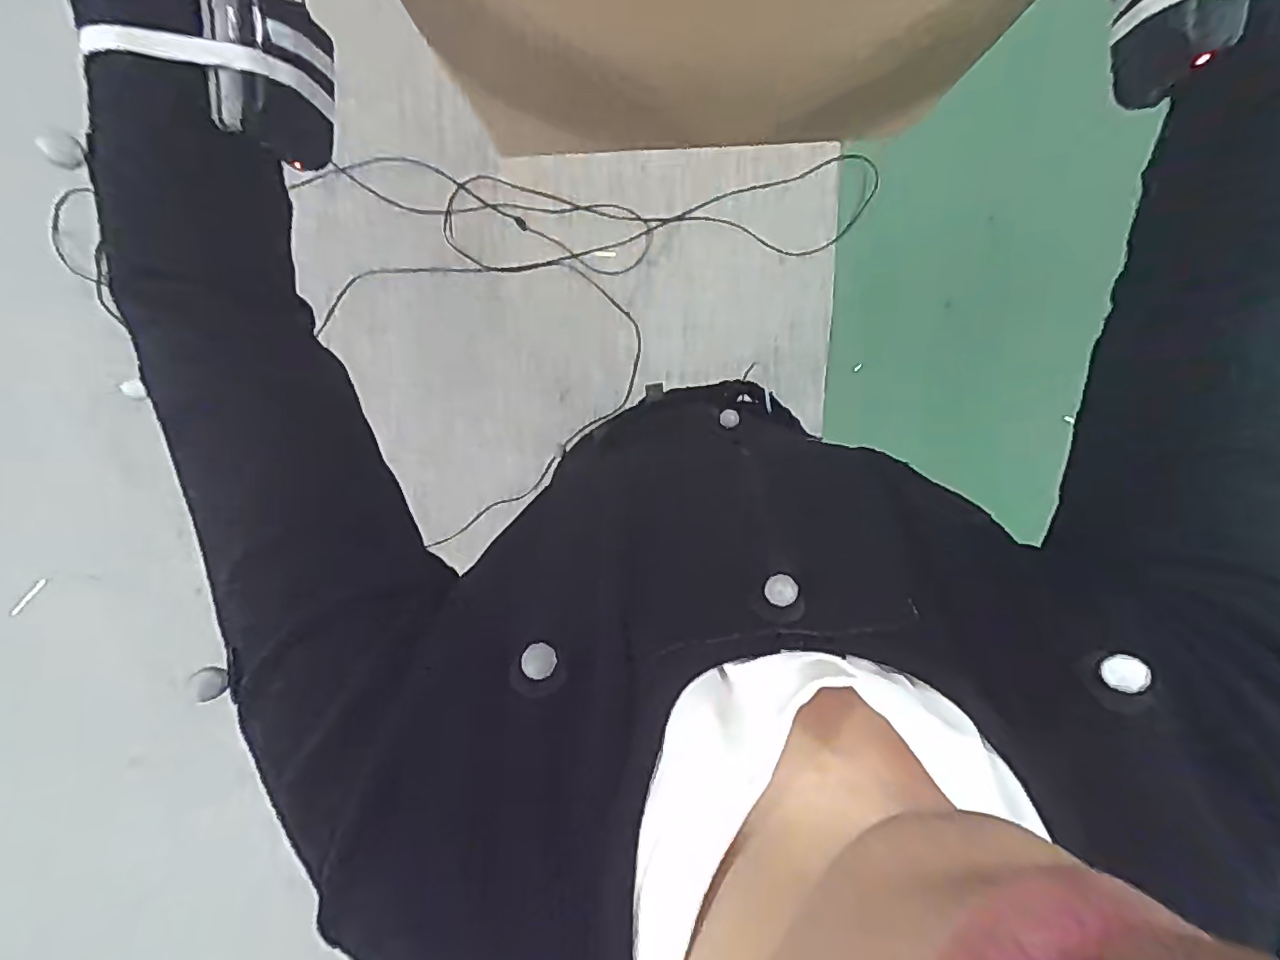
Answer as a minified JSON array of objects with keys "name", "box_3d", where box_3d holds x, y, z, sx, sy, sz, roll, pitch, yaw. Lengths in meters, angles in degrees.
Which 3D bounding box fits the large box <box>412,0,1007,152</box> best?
[{"name":"large box","box_3d":[0.044,-0.461,0.359,0.408,0.320,0.320,-3,99,1]}]
